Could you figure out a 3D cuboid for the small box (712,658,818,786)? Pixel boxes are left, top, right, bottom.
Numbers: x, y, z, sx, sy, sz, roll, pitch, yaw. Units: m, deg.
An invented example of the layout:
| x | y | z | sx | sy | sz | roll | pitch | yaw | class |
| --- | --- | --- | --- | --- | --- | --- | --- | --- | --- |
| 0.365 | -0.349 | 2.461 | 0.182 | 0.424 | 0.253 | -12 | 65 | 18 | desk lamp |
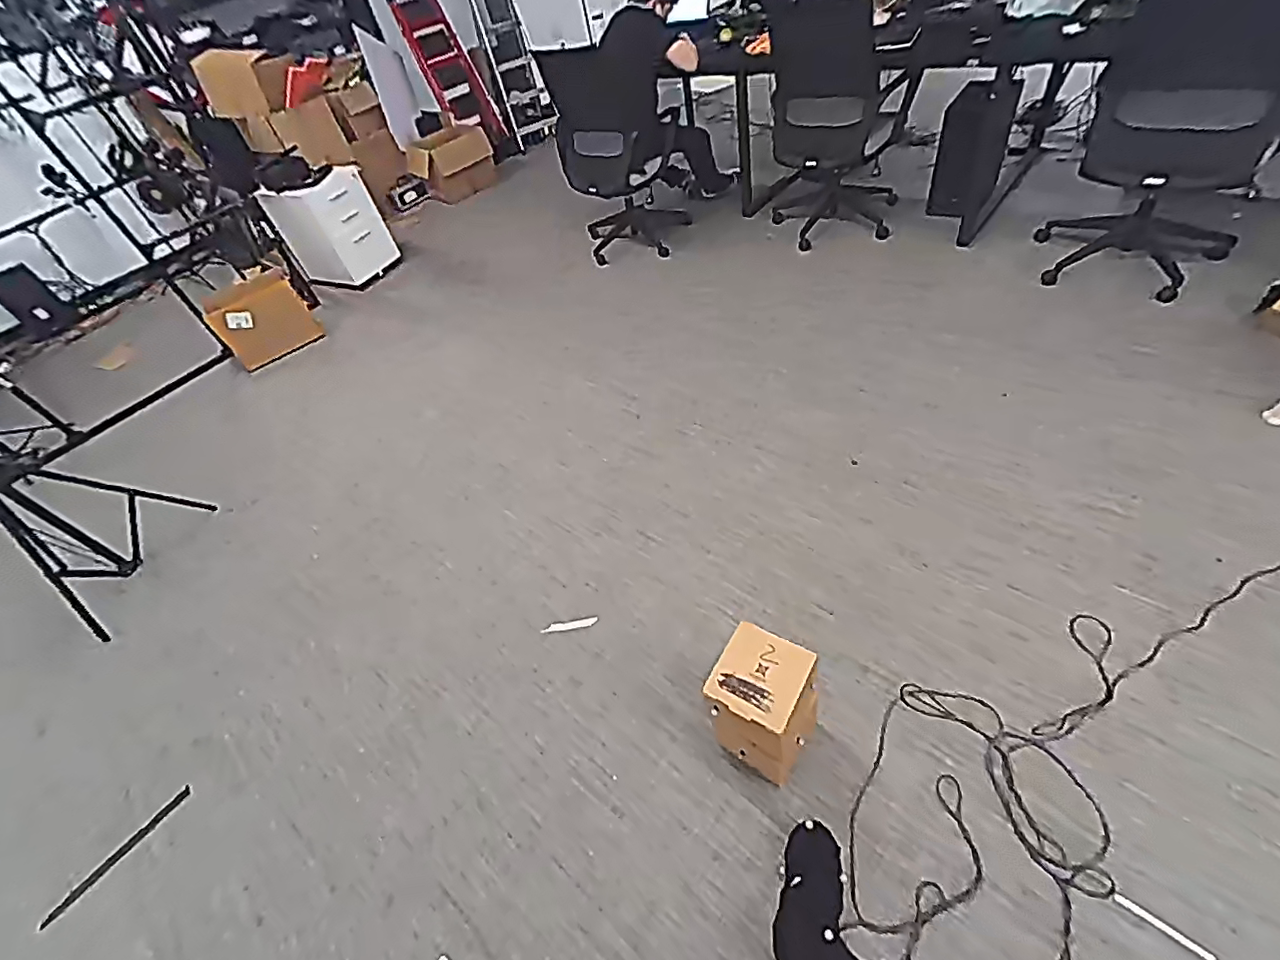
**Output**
| x | y | z | sx | sy | sz | roll | pitch | yaw | class |
| --- | --- | --- | --- | --- | --- | --- | --- | --- | --- |
| 0.285 | 0.545 | 1.211 | 0.168 | 0.176 | 0.179 | 25 | 58 | 33 | small box |
